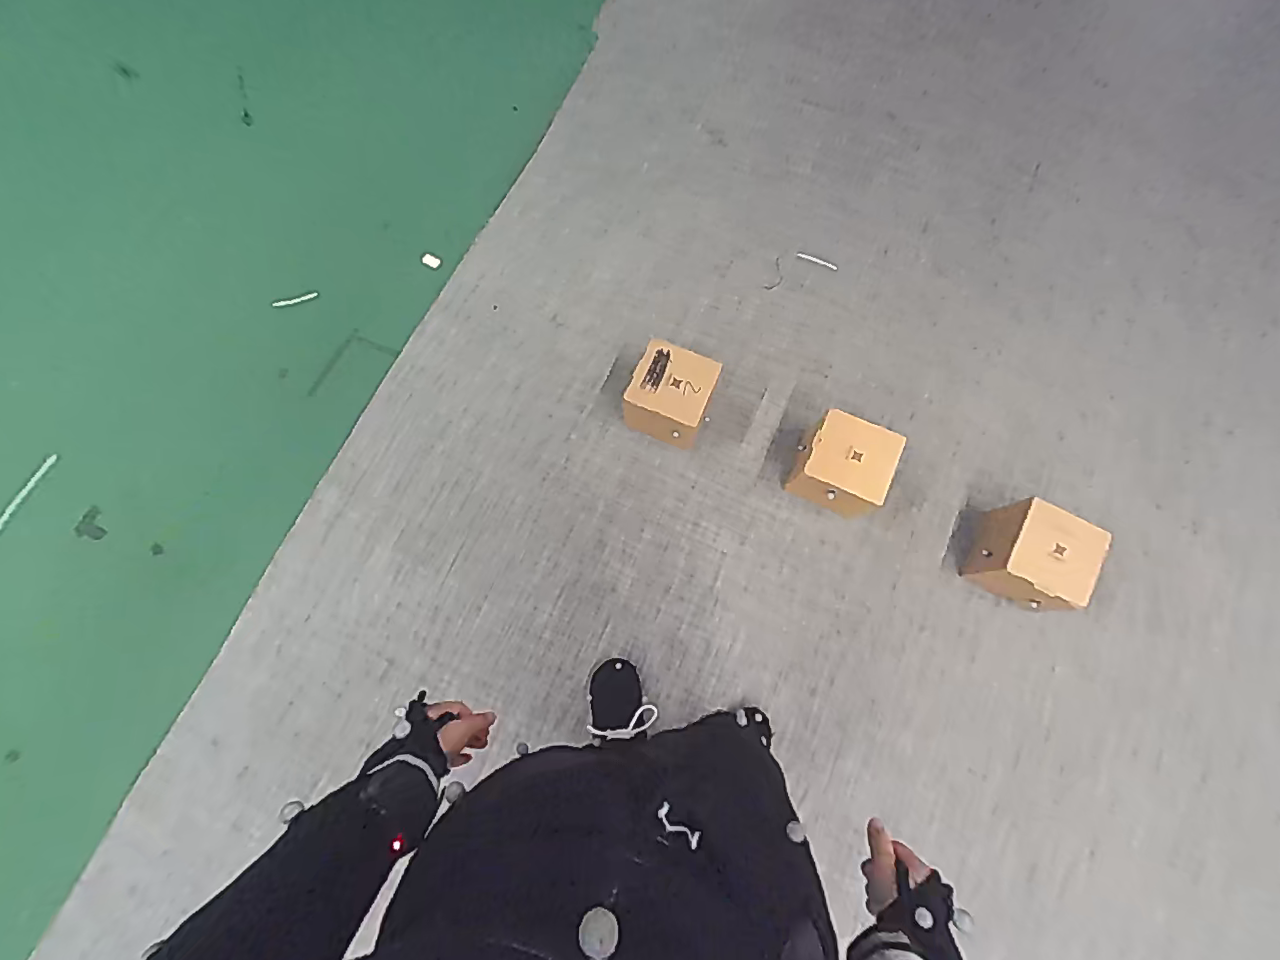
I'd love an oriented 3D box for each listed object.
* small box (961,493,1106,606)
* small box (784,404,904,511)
[{"bbox_3d":[0.829,0.156,1.159,0.168,0.176,0.179,29,77,6],"label":"small box"},{"bbox_3d":[0.449,-0.041,1.214,0.179,0.176,0.168,24,78,7],"label":"small box"}]
